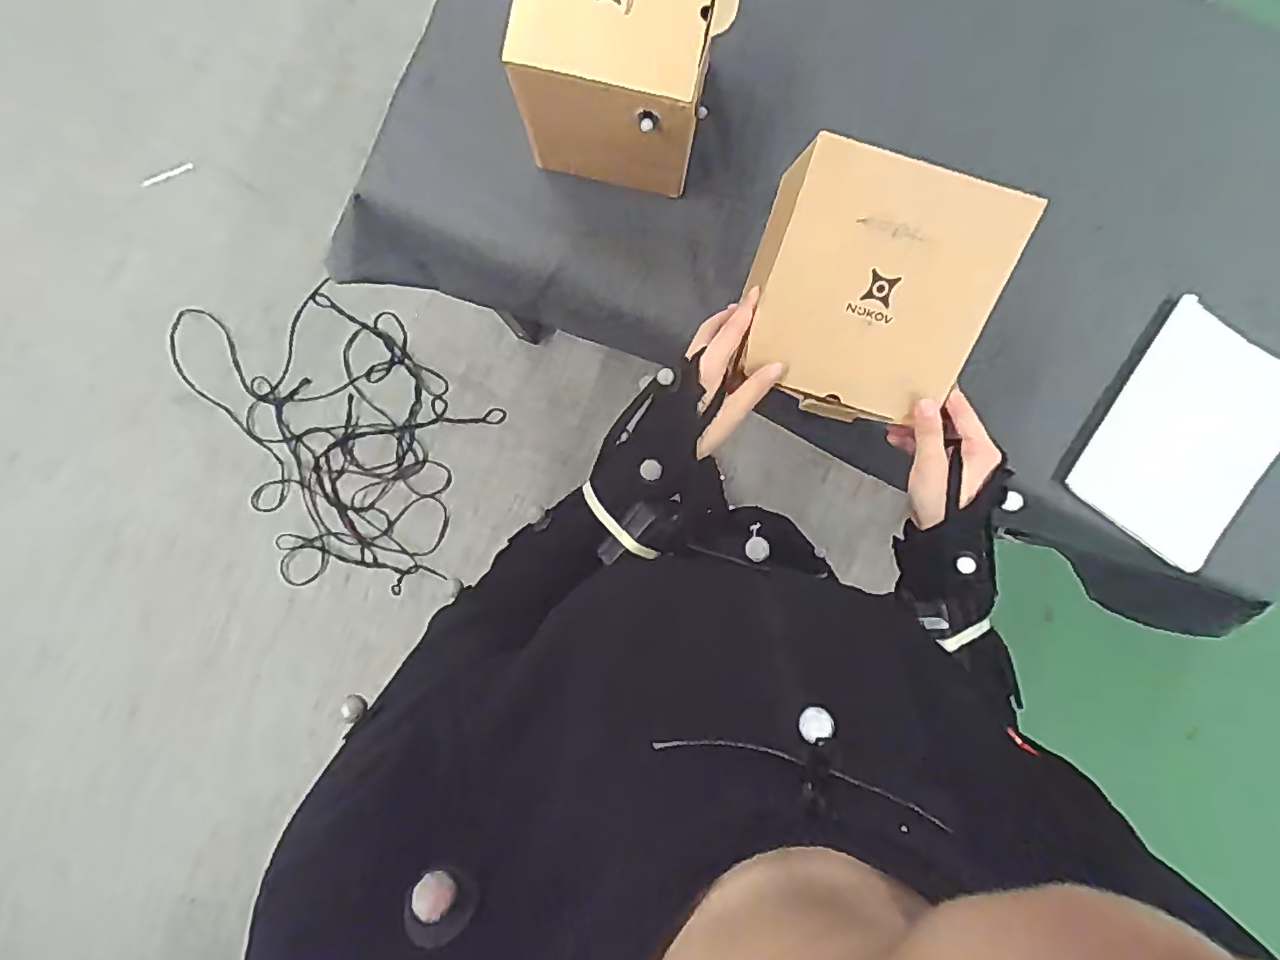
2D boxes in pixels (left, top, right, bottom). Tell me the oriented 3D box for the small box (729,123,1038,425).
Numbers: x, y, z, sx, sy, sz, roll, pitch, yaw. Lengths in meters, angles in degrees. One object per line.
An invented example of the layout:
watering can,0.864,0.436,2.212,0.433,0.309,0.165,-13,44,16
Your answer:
small box,0.182,-0.171,0.473,0.168,0.176,0.179,16,111,-1

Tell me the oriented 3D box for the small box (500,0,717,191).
small box,-0.024,-0.429,0.554,0.179,0.176,0.168,12,90,-2
